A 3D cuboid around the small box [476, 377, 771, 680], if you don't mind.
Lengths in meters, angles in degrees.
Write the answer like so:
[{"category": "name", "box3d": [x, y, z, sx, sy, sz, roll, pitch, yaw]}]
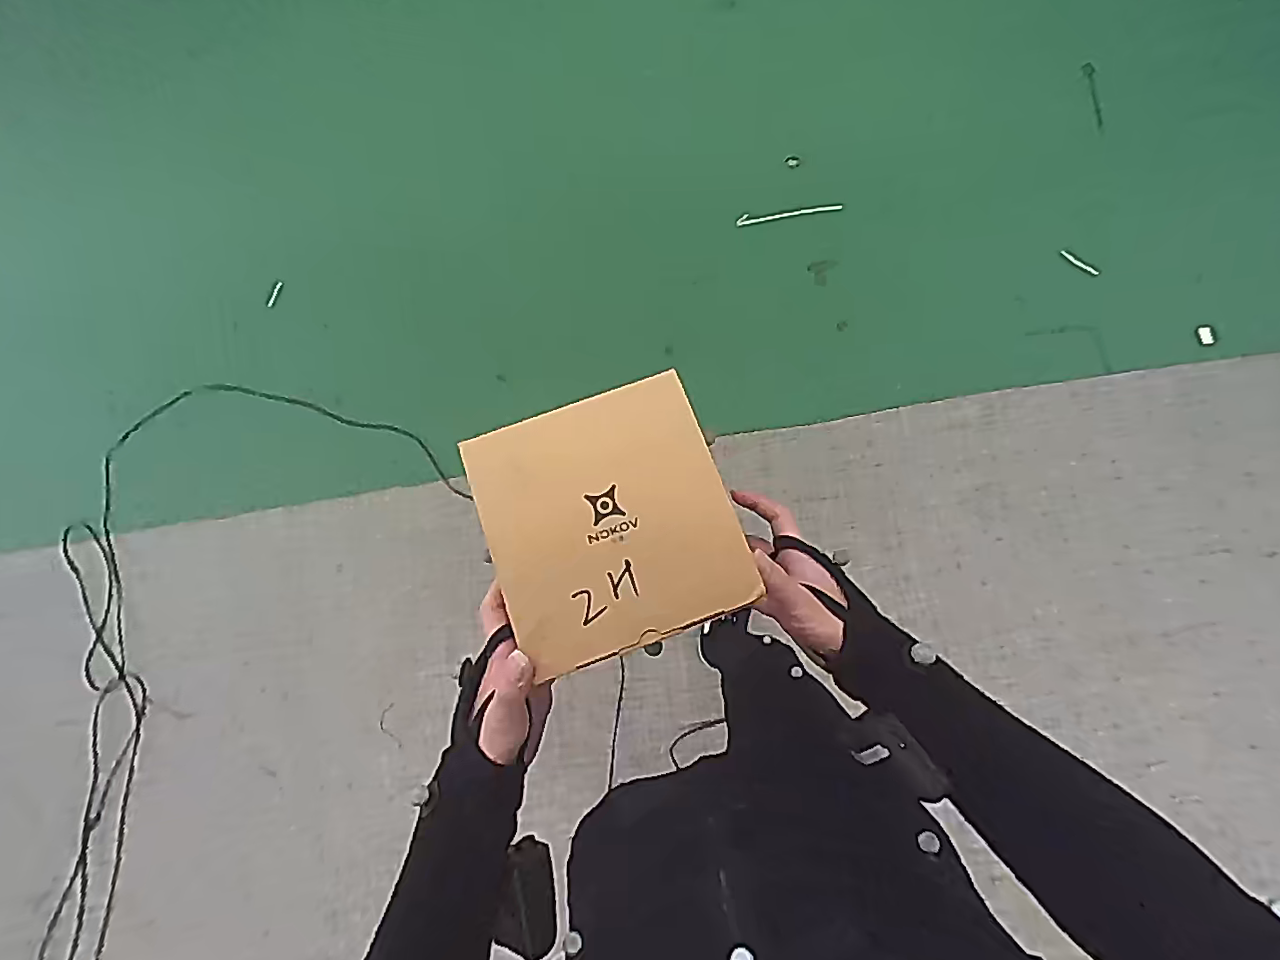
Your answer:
[{"category": "small box", "box3d": [-0.014, 0.046, 0.450, 0.168, 0.176, 0.179, -19, 77, -3]}]
